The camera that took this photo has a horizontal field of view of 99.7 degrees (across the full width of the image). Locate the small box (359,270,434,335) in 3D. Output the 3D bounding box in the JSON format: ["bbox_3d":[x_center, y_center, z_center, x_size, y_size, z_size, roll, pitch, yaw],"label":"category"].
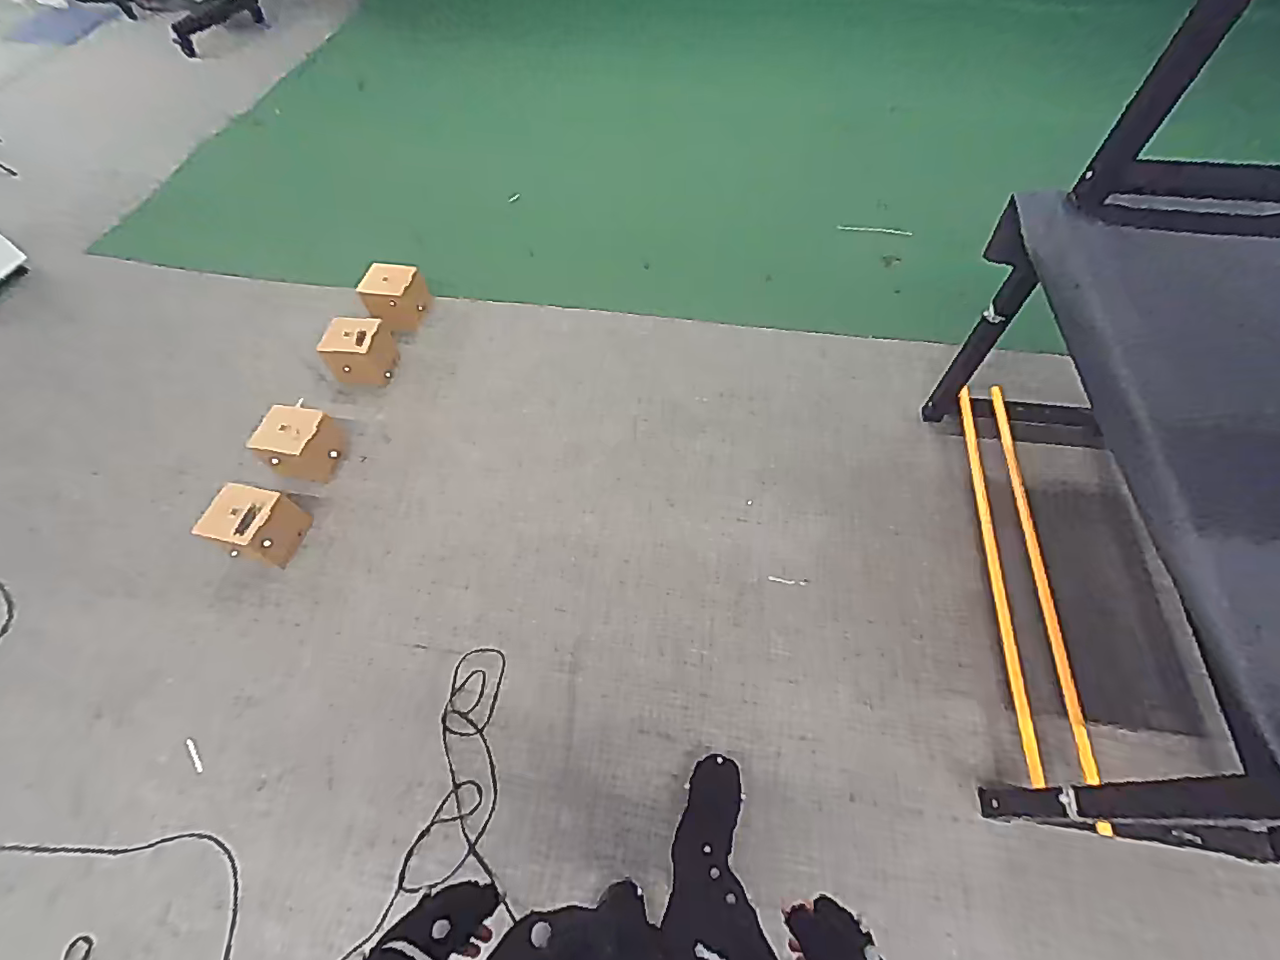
[{"bbox_3d":[-0.920,-0.673,2.060,0.179,0.176,0.168,7,59,6],"label":"small box"}]

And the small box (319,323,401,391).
[{"bbox_3d":[-0.975,-0.431,1.905,0.179,0.176,0.168,4,57,4],"label":"small box"}]

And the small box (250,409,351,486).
[{"bbox_3d":[-1.052,-0.099,1.691,0.179,0.176,0.168,9,59,6],"label":"small box"}]
